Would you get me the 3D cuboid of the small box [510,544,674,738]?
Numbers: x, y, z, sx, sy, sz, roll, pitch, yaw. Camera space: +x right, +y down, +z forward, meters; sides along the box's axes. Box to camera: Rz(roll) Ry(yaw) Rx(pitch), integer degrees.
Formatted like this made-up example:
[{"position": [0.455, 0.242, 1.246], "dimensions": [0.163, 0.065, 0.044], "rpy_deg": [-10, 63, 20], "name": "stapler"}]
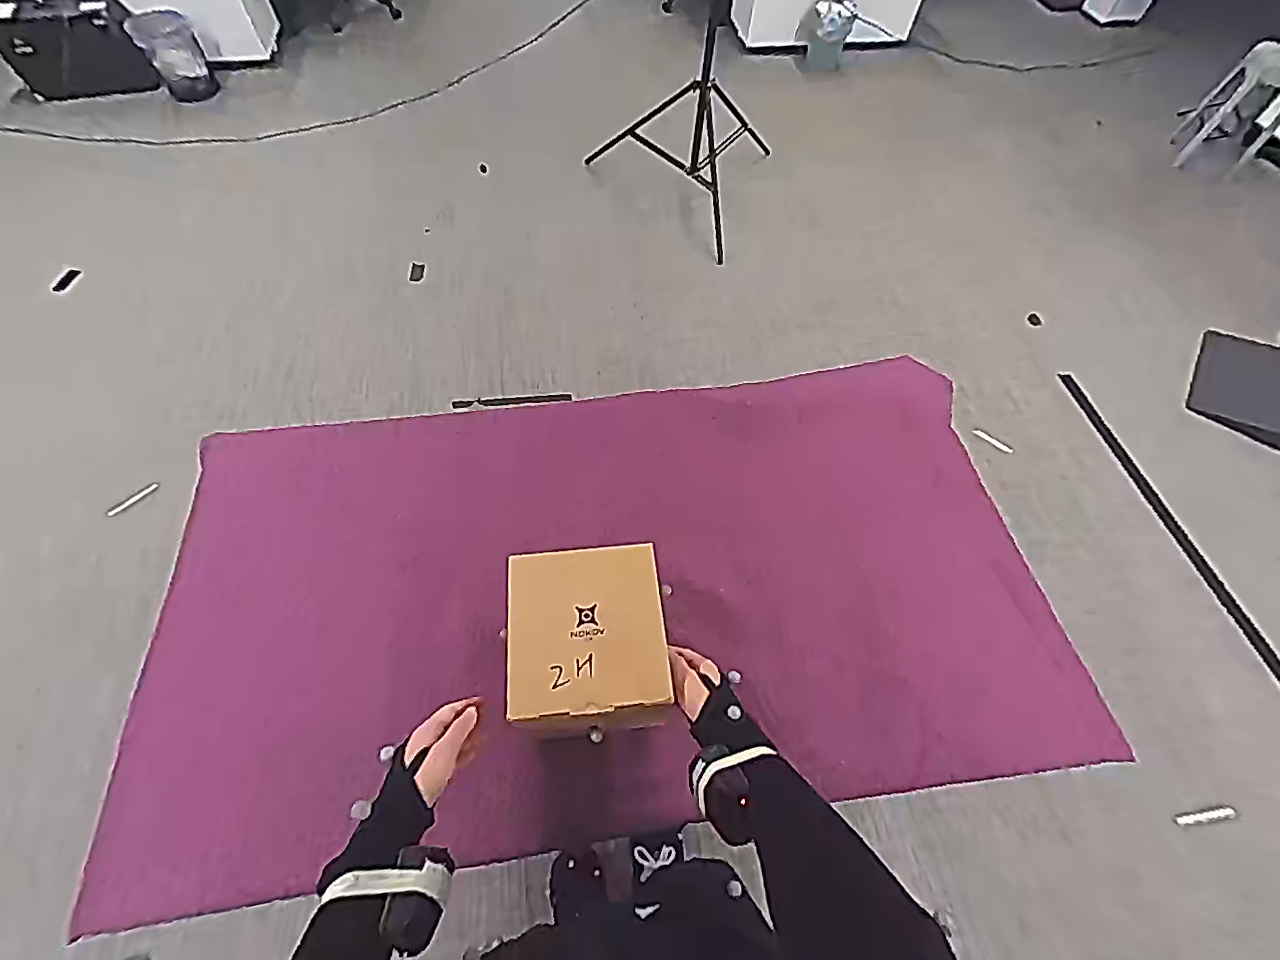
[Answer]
[{"position": [-0.058, 0.195, 0.645], "dimensions": [0.168, 0.176, 0.179], "rpy_deg": [-5, 59, -5], "name": "small box"}]
